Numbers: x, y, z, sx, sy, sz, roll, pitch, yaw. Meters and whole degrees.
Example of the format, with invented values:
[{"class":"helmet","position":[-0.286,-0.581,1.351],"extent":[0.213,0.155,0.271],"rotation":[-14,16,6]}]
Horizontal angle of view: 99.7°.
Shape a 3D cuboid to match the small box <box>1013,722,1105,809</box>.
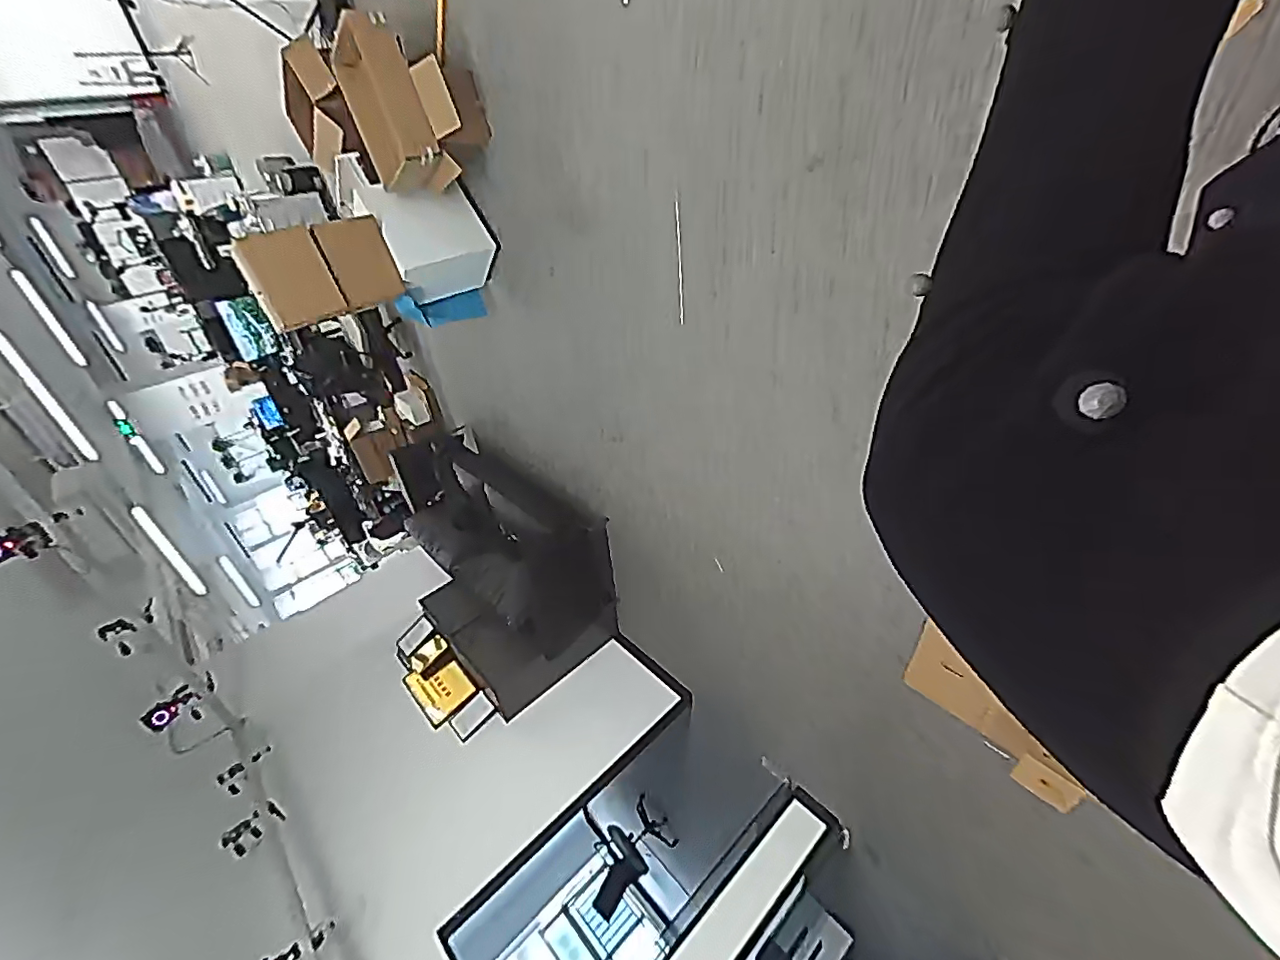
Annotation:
[{"class":"small box","position":[1.416,0.952,1.828],"extent":[0.179,0.176,0.168],"rotation":[31,140,36]}]
